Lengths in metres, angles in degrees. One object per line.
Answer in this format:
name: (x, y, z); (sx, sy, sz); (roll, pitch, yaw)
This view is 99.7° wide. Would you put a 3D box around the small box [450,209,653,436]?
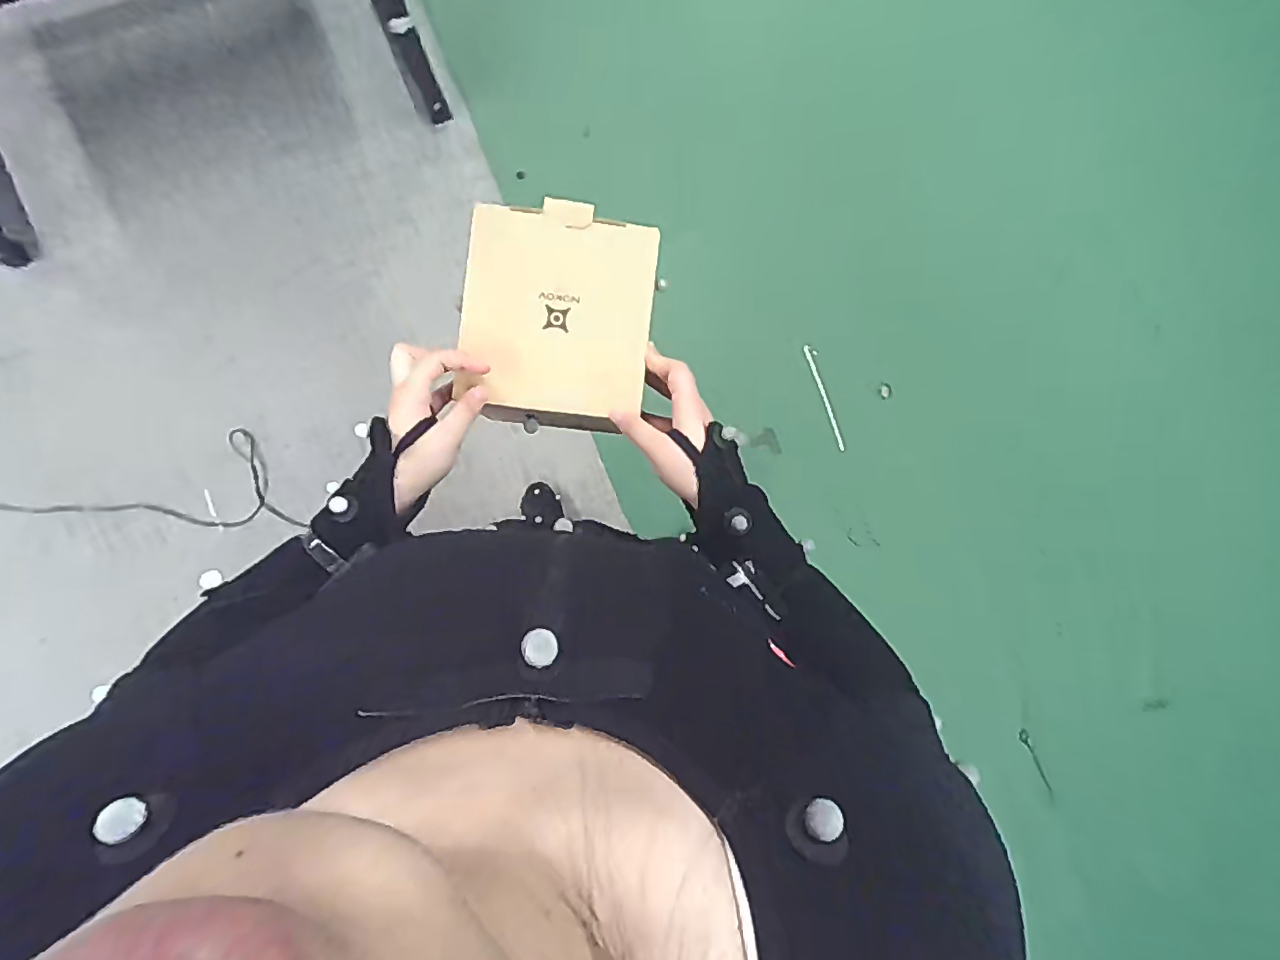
small box: (-0.082, -0.141, 0.551); (0.168, 0.176, 0.179); (5, 89, -4)
